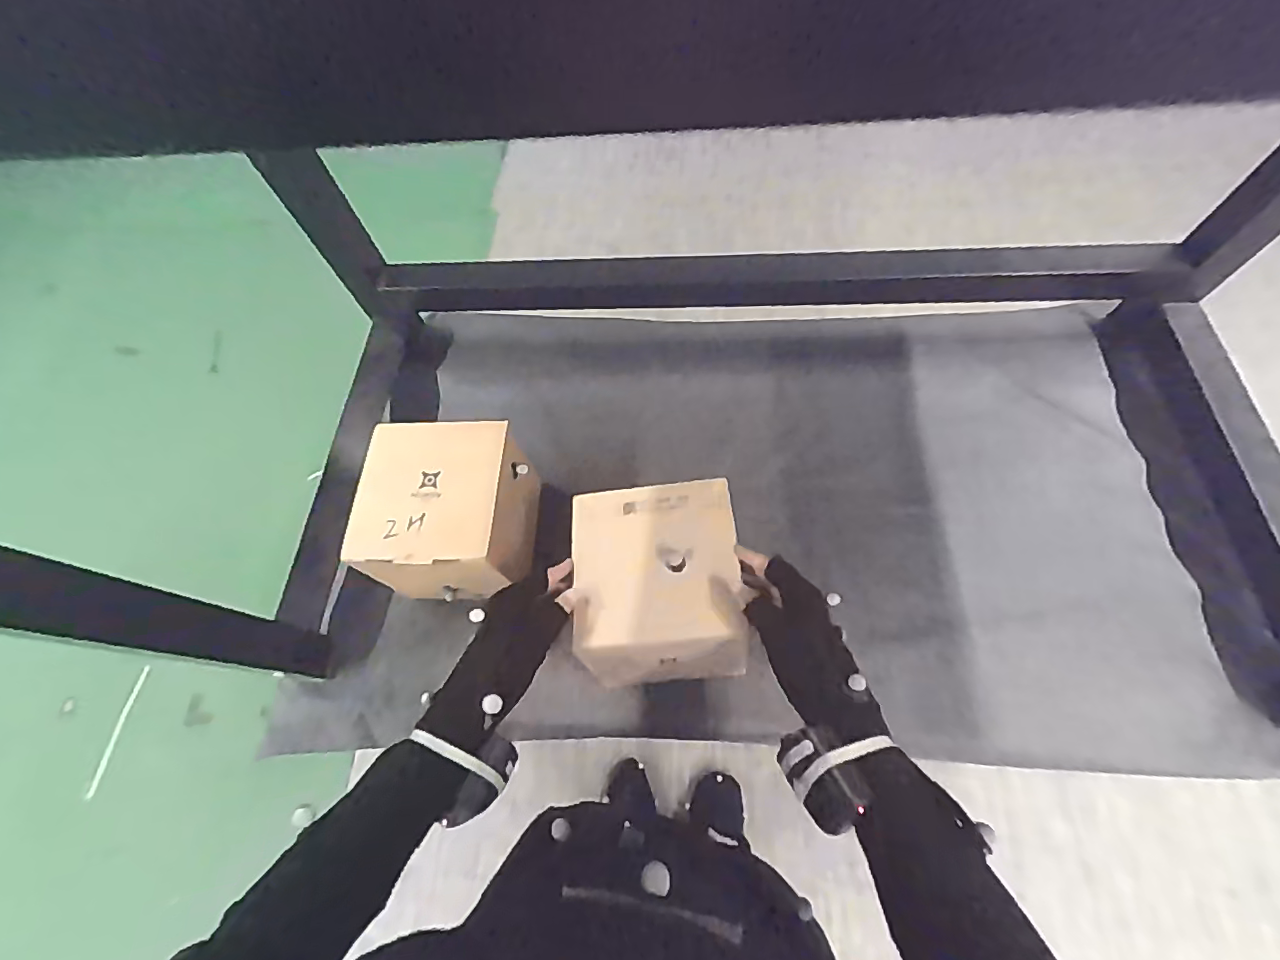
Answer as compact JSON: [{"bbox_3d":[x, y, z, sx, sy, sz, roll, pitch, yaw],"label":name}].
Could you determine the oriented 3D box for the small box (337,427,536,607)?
[{"bbox_3d":[-0.236,0.051,0.681,0.168,0.176,0.179,-1,62,5],"label":"small box"}]
